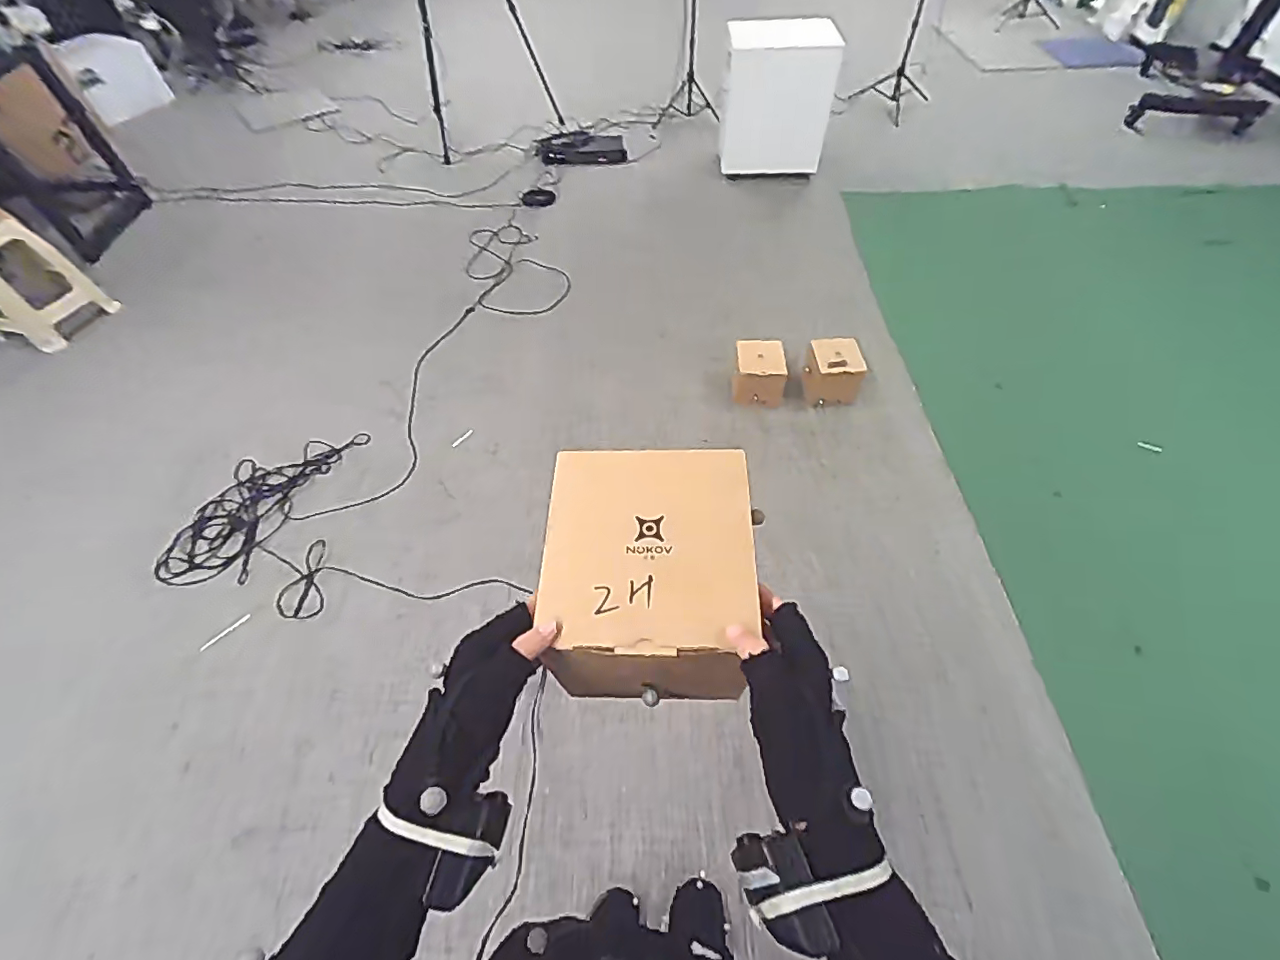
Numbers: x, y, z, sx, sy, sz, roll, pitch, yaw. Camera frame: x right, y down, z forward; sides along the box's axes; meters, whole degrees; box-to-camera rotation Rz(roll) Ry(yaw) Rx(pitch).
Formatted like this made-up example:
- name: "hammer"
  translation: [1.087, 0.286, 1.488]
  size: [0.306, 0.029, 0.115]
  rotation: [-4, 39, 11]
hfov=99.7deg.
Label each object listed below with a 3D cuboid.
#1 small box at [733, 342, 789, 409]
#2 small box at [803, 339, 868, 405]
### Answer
- name: "small box"
  translation: [0.435, -0.381, 1.968]
  size: [0.168, 0.176, 0.179]
  rotation: [0, 55, 2]
- name: "small box"
  translation: [0.703, -0.386, 1.961]
  size: [0.168, 0.176, 0.179]
  rotation: [-2, 54, 0]
